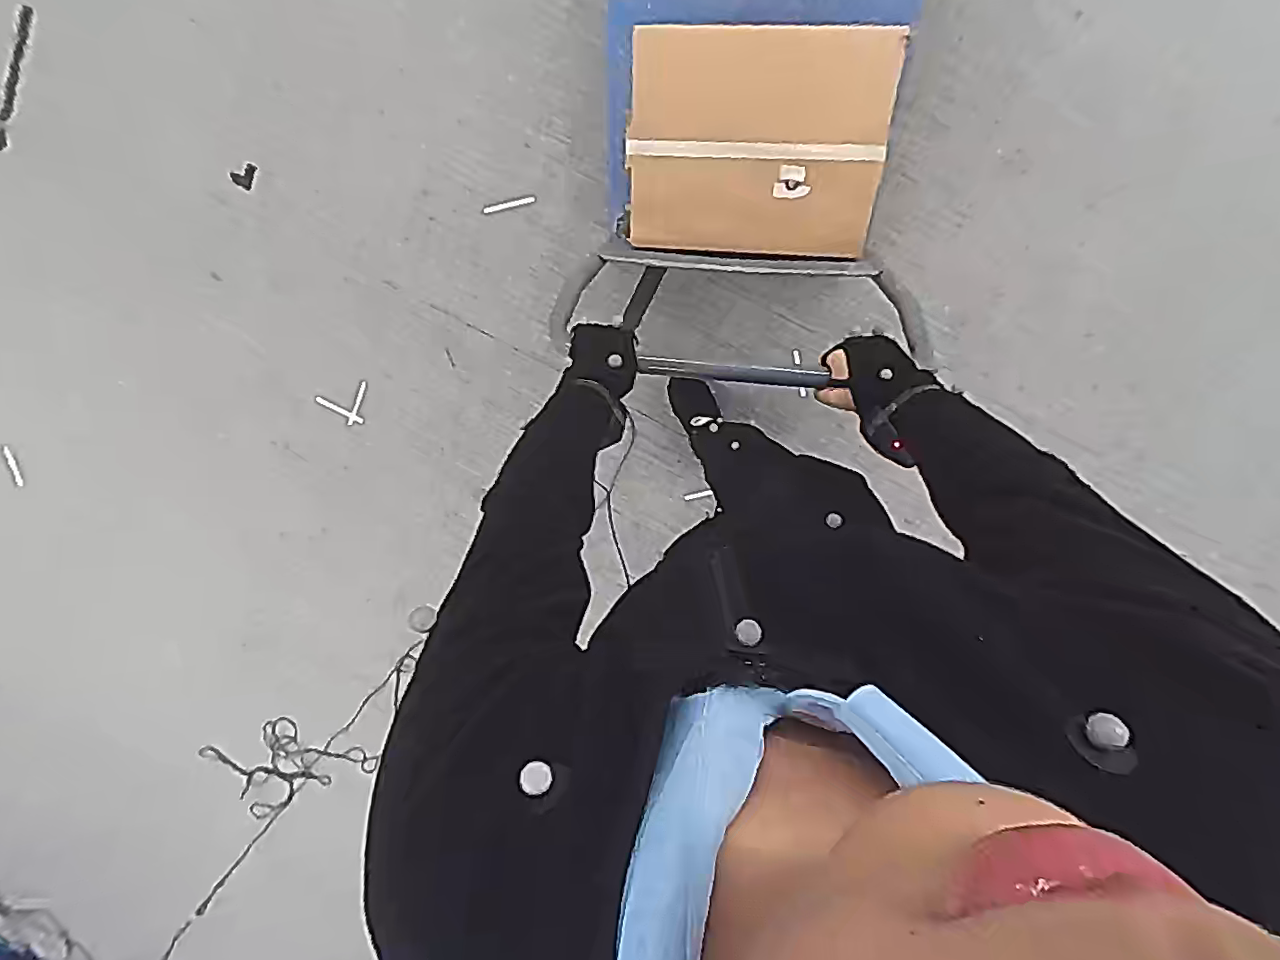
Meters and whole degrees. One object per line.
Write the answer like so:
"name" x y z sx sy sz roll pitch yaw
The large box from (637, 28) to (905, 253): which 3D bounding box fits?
"large box" 0.211 -0.614 1.015 0.408 0.320 0.320 5 121 6
